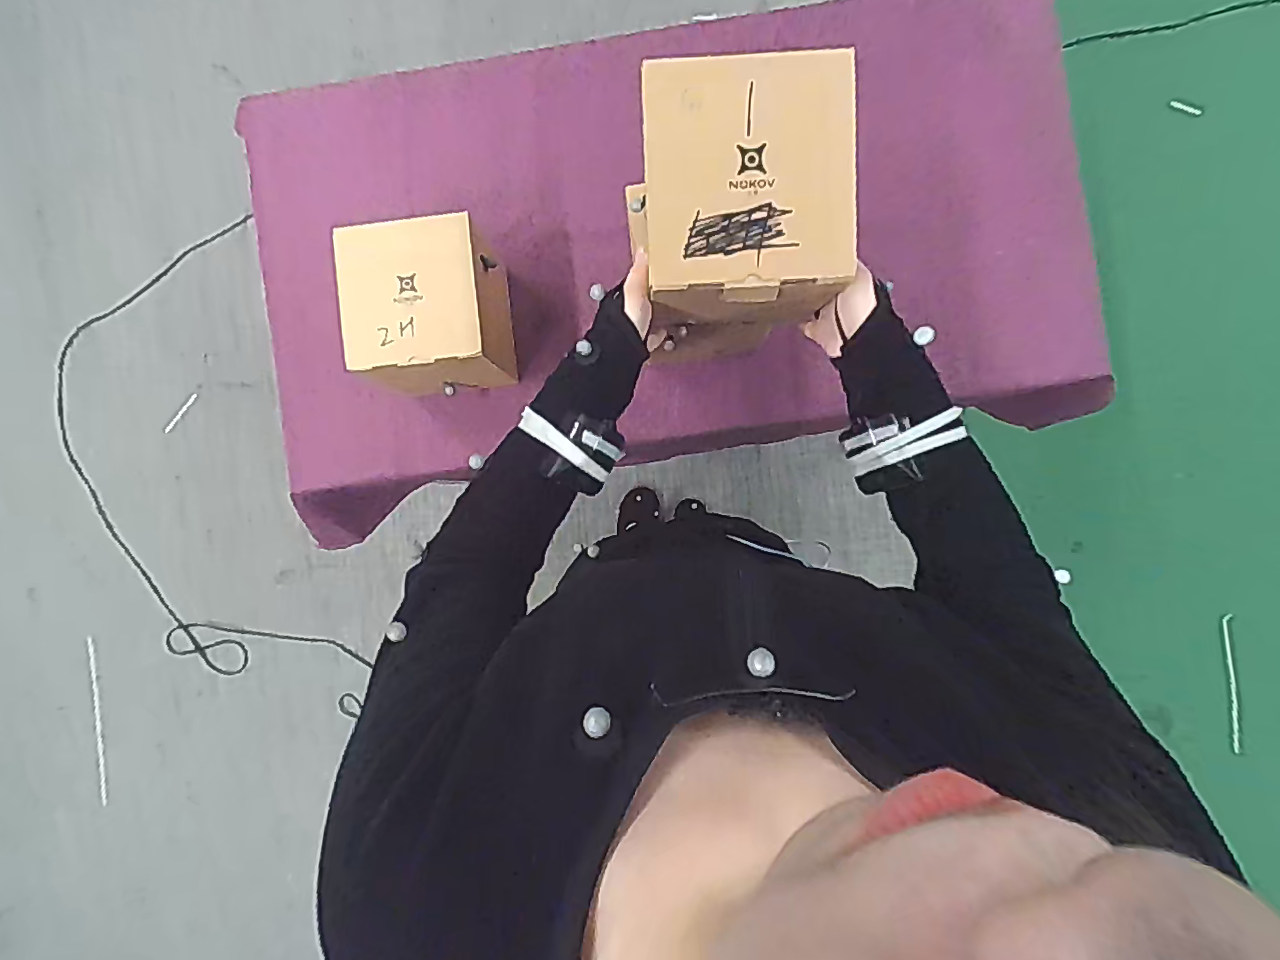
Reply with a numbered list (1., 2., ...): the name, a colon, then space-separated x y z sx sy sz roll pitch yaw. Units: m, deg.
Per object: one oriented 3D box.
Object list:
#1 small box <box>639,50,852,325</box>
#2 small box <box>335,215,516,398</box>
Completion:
1. small box: 0.086 -0.248 0.505 0.168 0.176 0.179 -2 92 1
2. small box: -0.271 -0.217 0.716 0.168 0.176 0.179 -6 88 2
